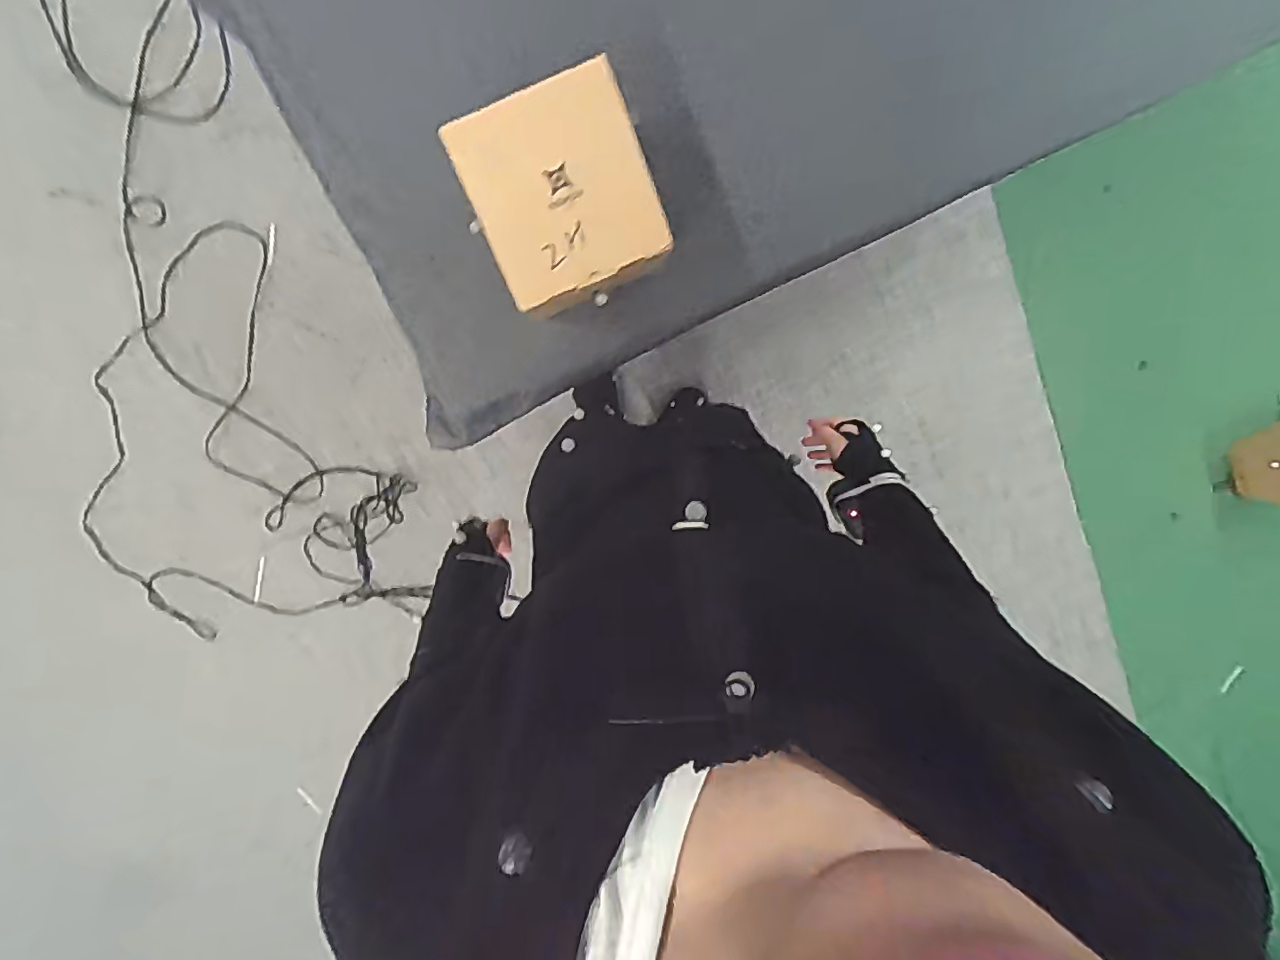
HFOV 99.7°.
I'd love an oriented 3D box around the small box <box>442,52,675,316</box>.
[{"bbox_3d":[-0.079,-0.290,0.575,0.168,0.176,0.179,-23,105,1],"label":"small box"}]
